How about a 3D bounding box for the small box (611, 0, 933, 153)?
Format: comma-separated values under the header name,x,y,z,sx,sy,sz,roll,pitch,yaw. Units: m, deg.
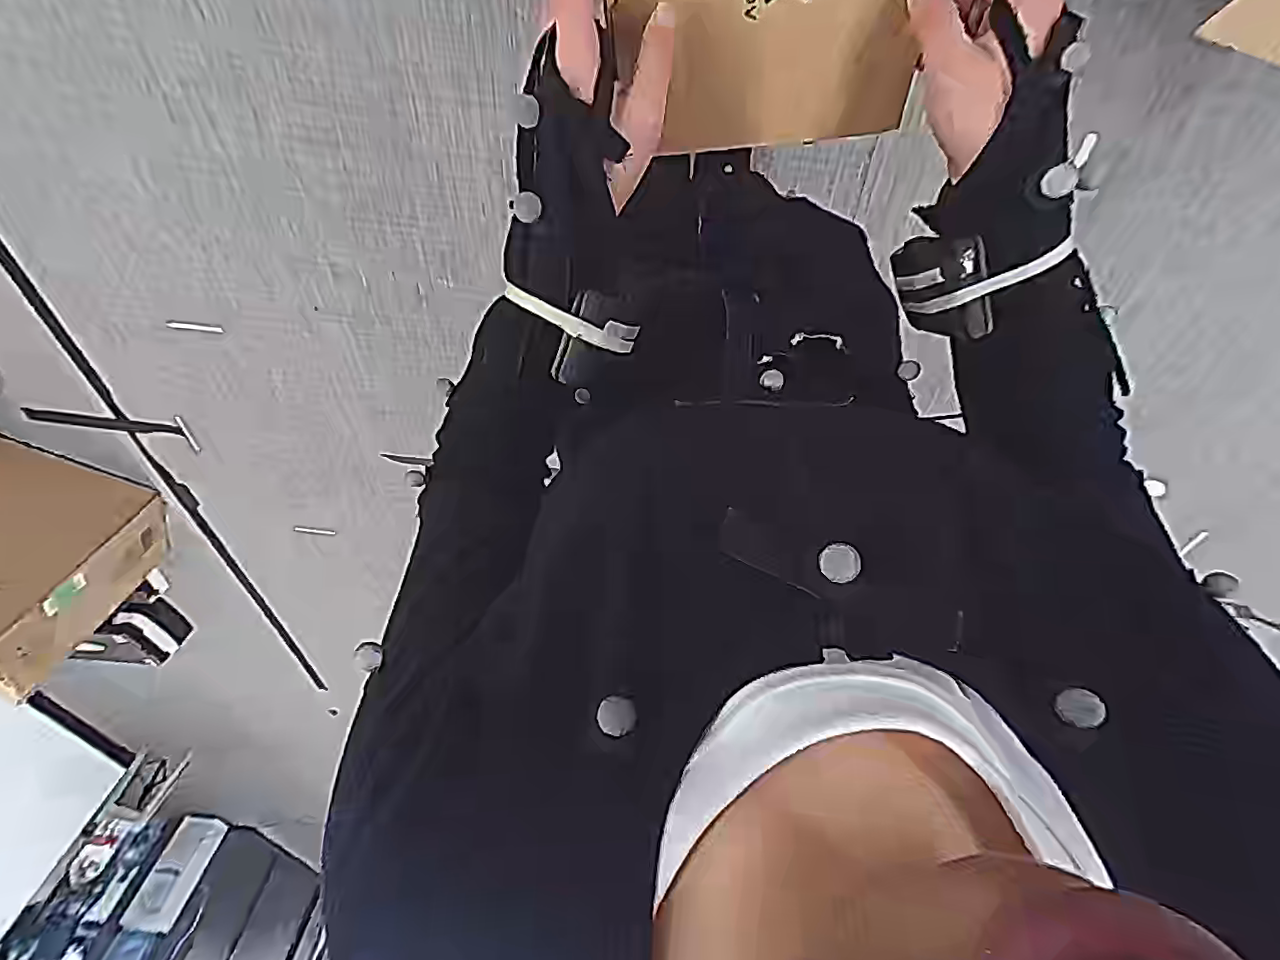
name,x,y,z,sx,sy,sz,roll,pitch,yaw
small box,0.069,-0.327,0.326,0.179,0.176,0.168,-3,143,3
